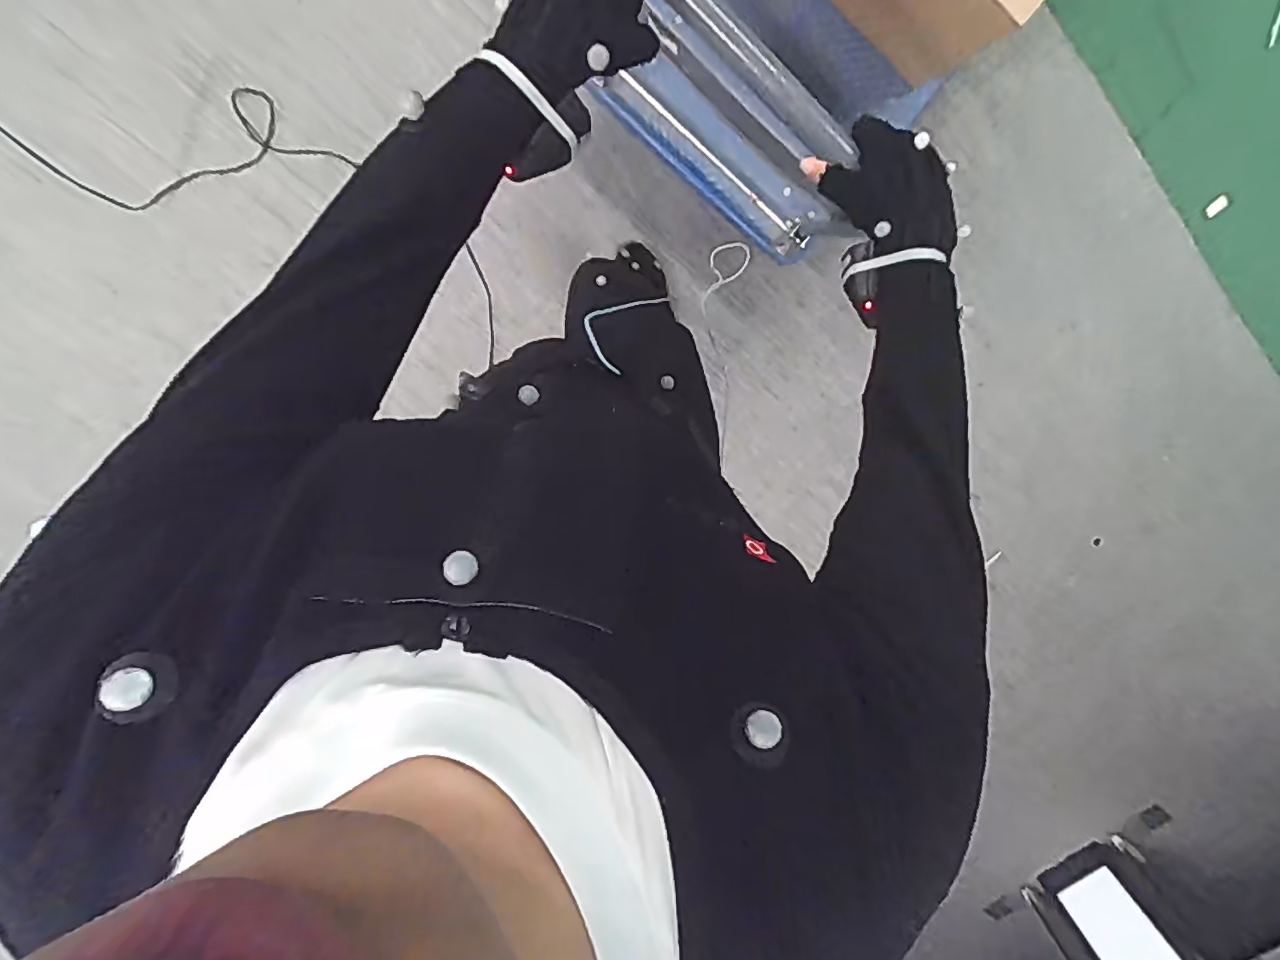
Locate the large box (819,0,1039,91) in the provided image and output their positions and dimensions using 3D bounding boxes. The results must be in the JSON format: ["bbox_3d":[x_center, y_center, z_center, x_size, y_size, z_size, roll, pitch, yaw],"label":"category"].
[{"bbox_3d":[0.456,-0.907,0.817,0.408,0.320,0.320,35,107,-13],"label":"large box"}]
